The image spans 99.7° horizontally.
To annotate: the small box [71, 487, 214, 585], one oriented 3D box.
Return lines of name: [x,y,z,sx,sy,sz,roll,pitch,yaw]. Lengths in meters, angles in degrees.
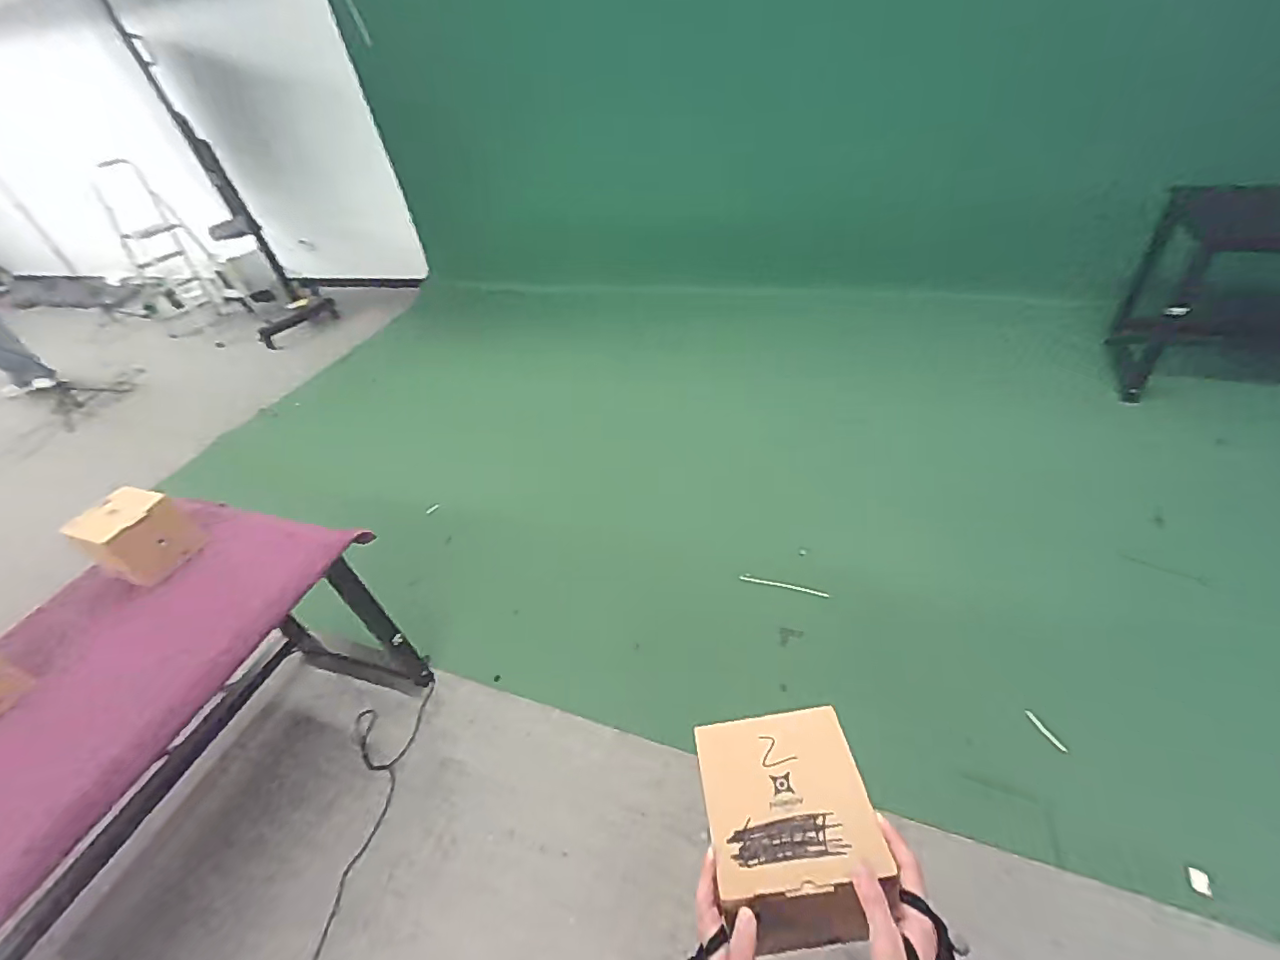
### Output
small box: [-1.247,0.145,1.371,0.179,0.176,0.168,9,45,20]
